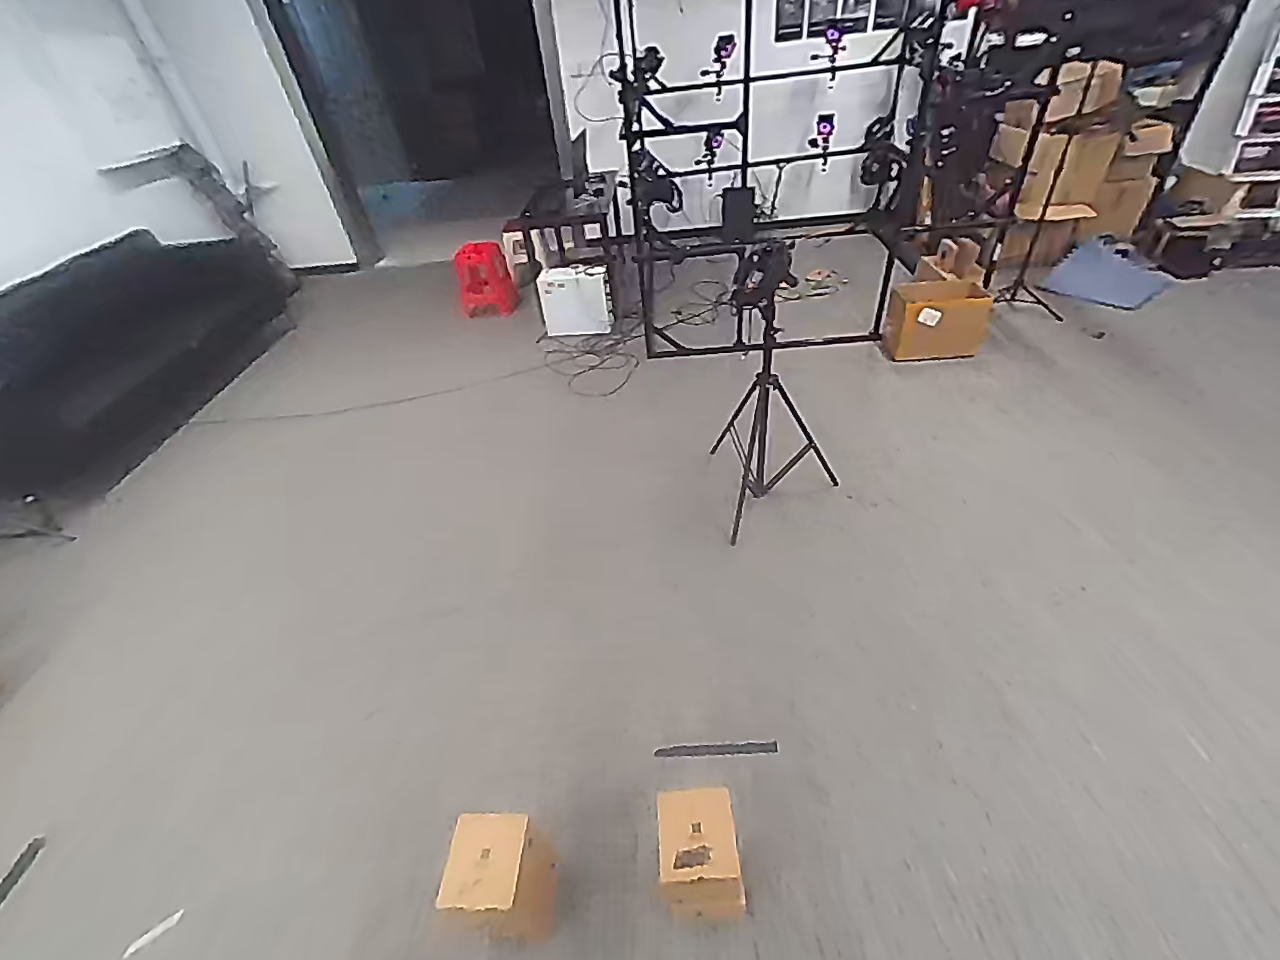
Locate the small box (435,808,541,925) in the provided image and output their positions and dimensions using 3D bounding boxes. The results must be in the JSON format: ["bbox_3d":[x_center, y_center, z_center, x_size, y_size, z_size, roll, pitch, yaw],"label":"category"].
[{"bbox_3d":[-0.327,0.861,1.208,0.168,0.176,0.179,-3,41,7],"label":"small box"}]

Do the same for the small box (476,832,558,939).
[{"bbox_3d":[-0.302,0.983,1.316,0.168,0.176,0.179,-3,40,7],"label":"small box"}]

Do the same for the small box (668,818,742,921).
[{"bbox_3d":[0.152,0.937,1.301,0.168,0.176,0.179,-5,39,2],"label":"small box"}]

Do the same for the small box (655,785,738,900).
[{"bbox_3d":[0.125,0.809,1.202,0.168,0.176,0.179,-5,38,2],"label":"small box"}]
